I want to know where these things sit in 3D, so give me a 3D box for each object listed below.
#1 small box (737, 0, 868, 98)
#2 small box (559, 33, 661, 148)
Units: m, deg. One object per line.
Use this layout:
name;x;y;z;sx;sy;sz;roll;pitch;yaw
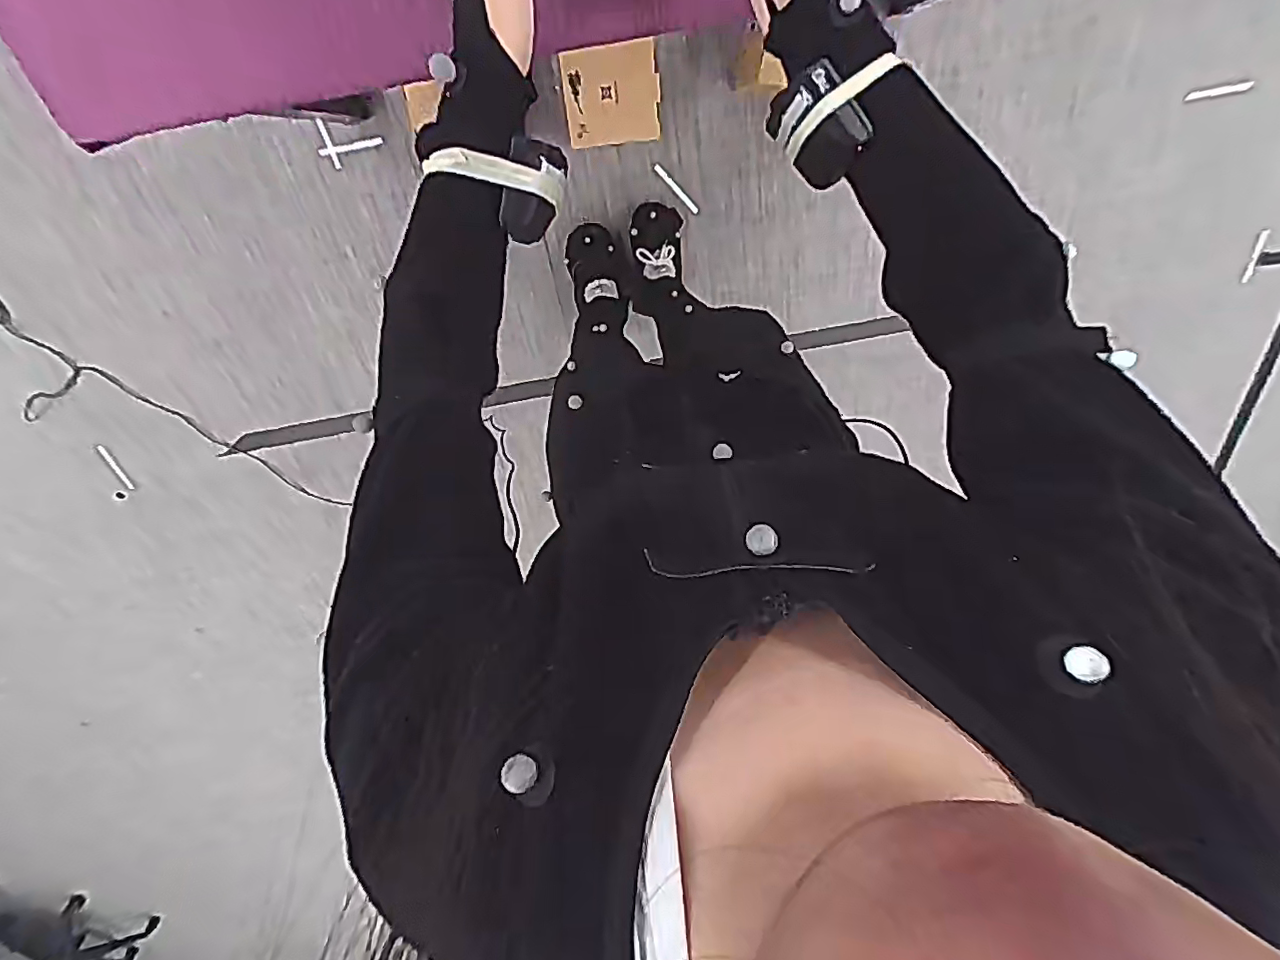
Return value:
small box;0.306;-0.855;1.050;0.179;0.176;0.168;4;122;-8
small box;-0.061;-0.760;1.065;0.179;0.176;0.168;-8;123;-2
